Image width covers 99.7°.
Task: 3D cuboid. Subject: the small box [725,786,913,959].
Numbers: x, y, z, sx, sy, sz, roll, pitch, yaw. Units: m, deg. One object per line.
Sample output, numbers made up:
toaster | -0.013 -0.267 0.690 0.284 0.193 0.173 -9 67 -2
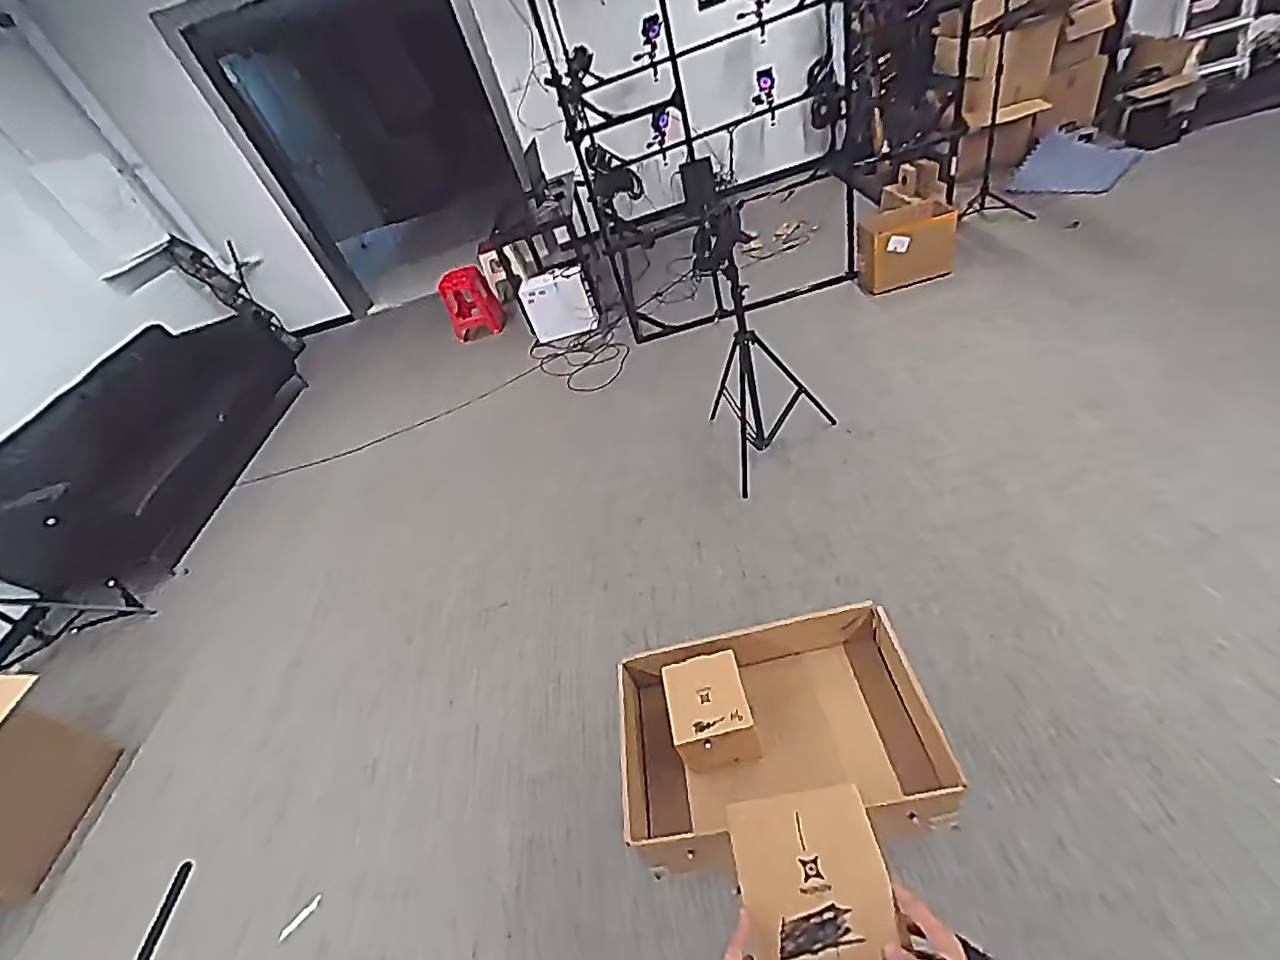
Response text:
small box | 0.209 0.509 0.668 0.168 0.176 0.179 -12 45 2

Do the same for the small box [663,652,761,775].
small box | 0.158 0.515 1.192 0.168 0.176 0.179 -17 40 6
